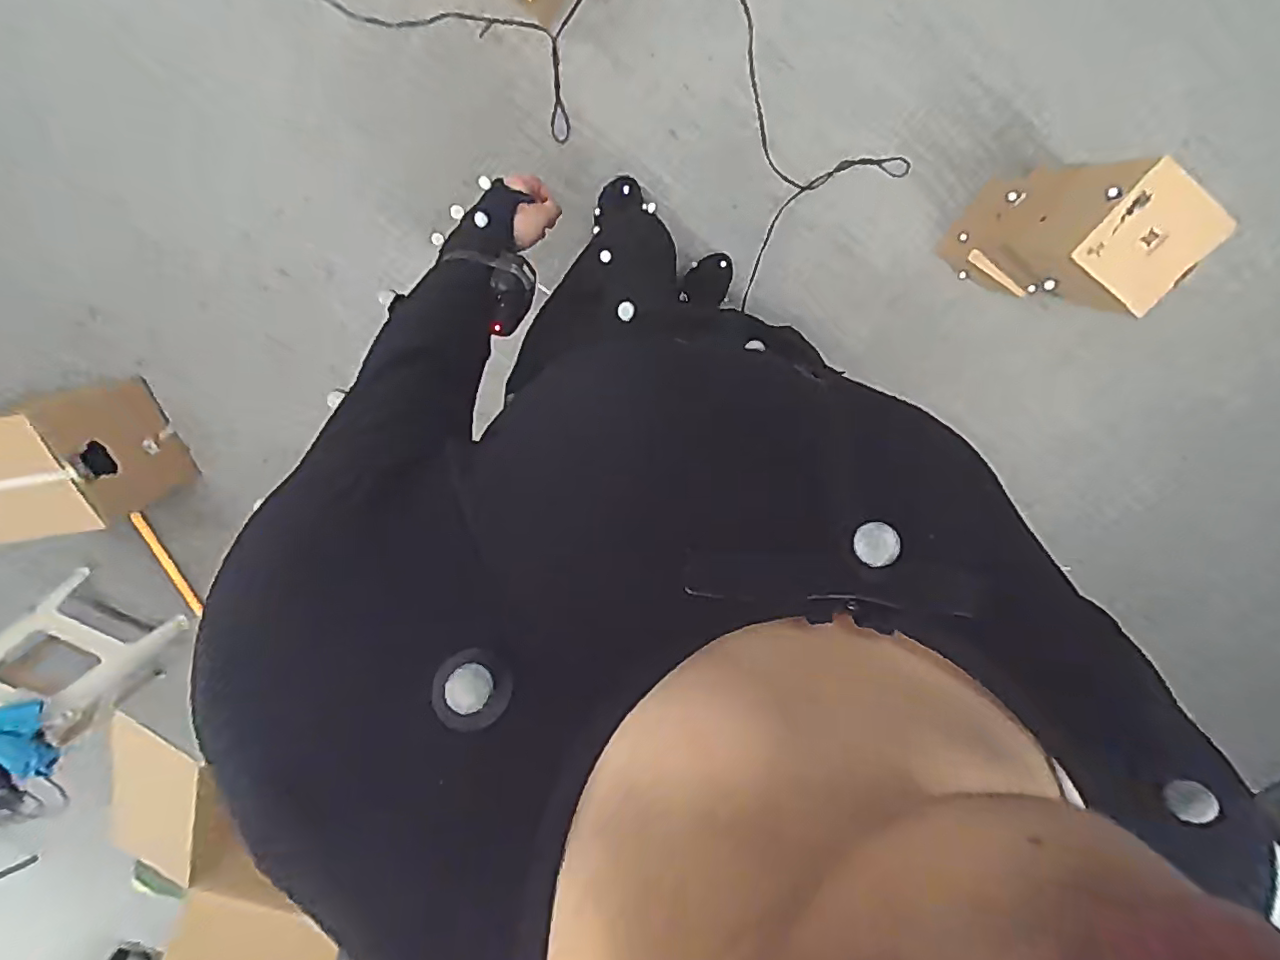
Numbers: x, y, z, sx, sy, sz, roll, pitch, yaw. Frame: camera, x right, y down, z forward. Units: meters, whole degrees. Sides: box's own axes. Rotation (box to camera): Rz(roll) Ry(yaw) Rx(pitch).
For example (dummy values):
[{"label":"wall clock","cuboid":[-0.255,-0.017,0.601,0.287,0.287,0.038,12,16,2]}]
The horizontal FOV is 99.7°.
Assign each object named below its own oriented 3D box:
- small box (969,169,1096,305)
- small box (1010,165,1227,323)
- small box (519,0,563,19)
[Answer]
[{"label":"small box","cuboid":[0.796,-0.470,1.048,0.179,0.176,0.168,32,113,-12]},{"label":"small box","cuboid":[0.781,-0.394,0.903,0.179,0.176,0.168,32,113,-14]},{"label":"small box","cuboid":[-0.205,-1.002,0.995,0.179,0.176,0.168,35,113,-14]}]
